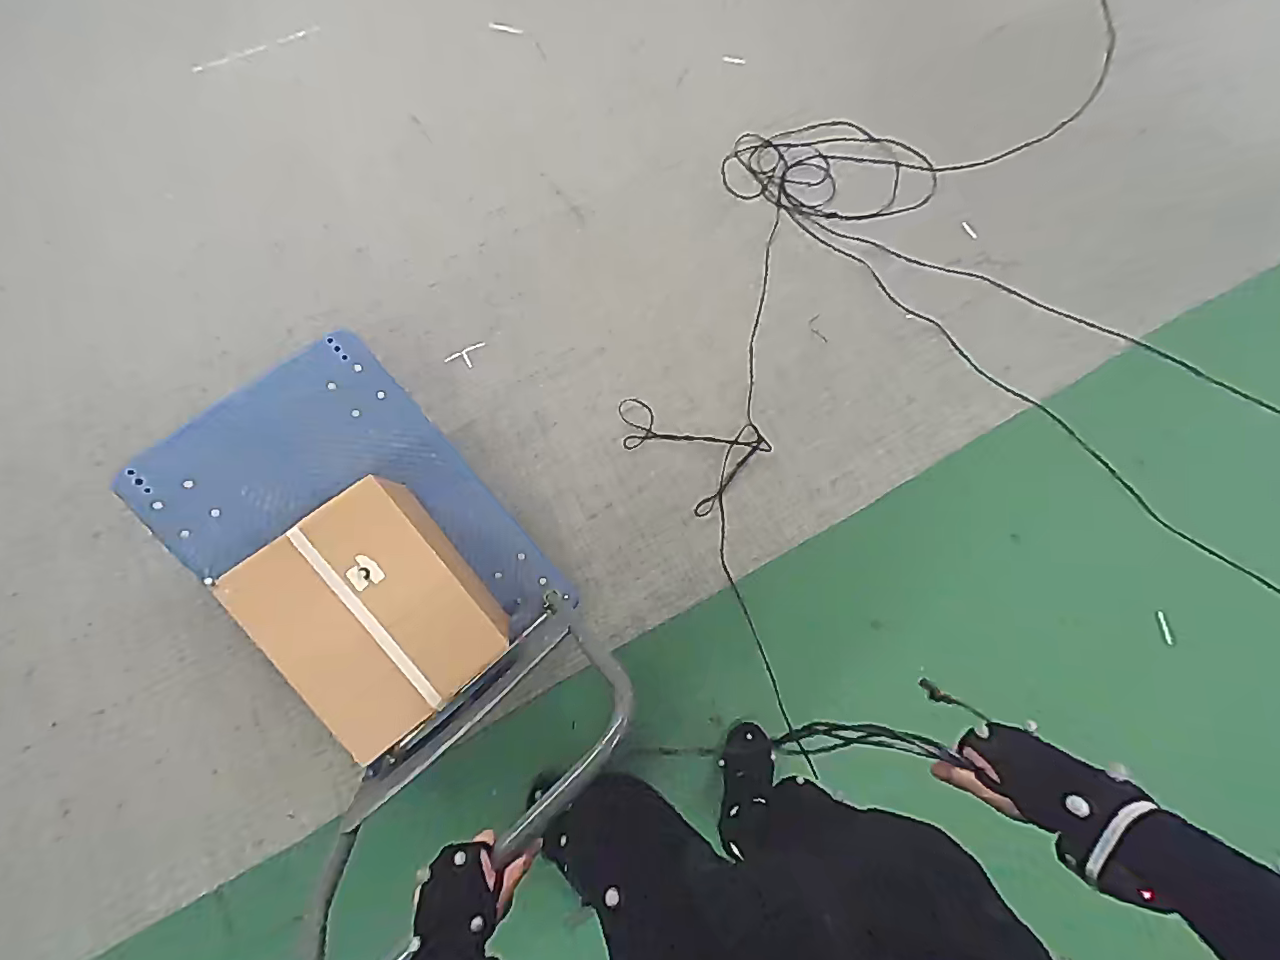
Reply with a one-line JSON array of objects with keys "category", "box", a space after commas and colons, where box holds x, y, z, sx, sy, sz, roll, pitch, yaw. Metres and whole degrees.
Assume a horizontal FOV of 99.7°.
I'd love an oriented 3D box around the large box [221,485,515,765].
[{"category": "large box", "box": [-0.501, 0.268, 1.102, 0.320, 0.320, 0.408, -39, 93, -14]}]
